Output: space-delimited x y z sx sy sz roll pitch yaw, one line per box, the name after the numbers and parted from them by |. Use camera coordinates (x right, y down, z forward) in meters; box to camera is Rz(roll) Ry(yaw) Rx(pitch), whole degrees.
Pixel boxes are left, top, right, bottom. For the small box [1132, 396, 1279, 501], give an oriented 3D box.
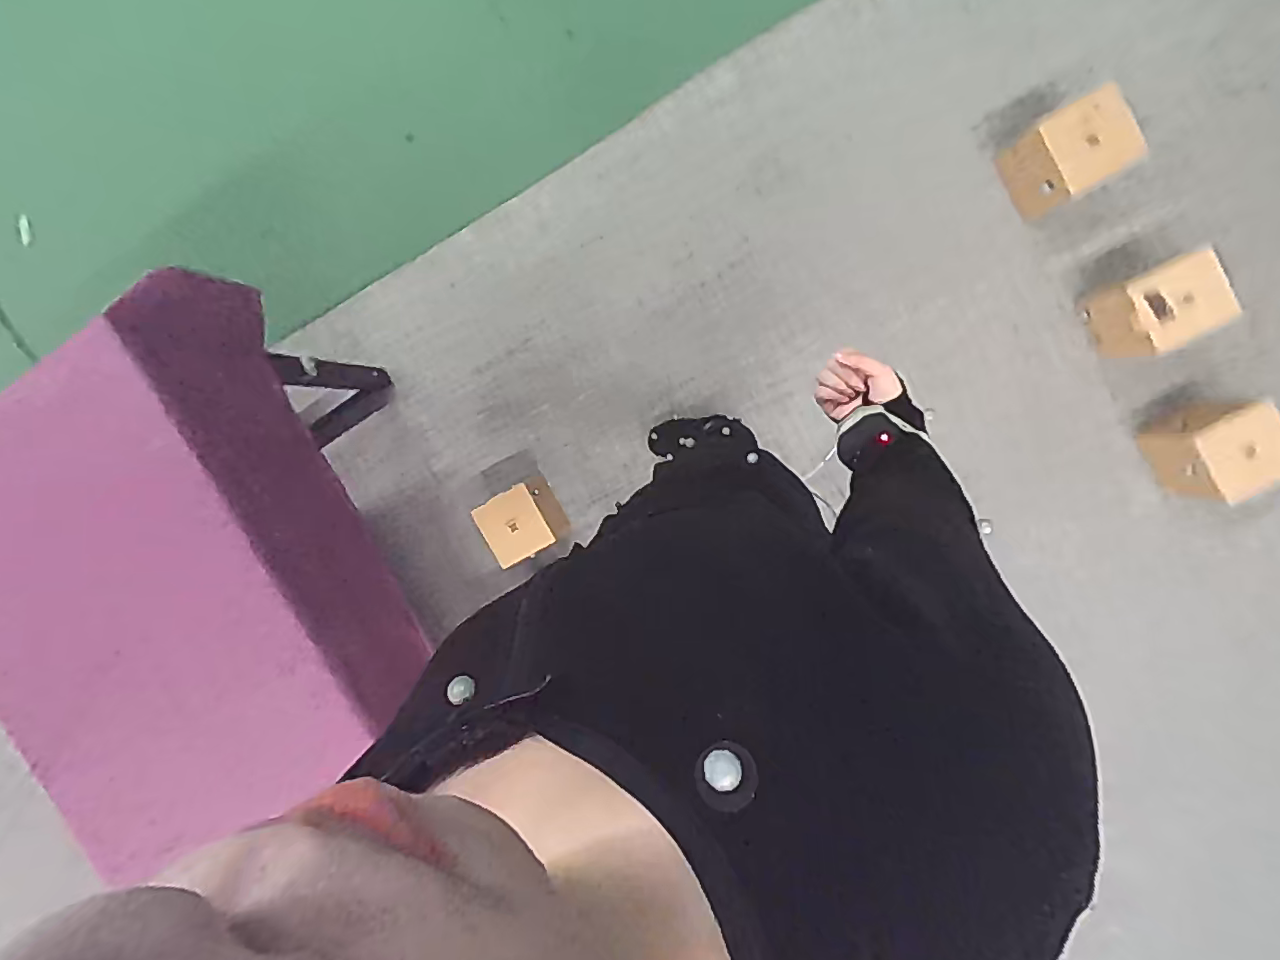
1.298 -0.075 1.239 0.168 0.176 0.179 -30 93 10 | small box

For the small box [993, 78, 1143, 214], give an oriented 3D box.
0.938 -0.723 1.202 0.168 0.176 0.179 -29 93 9 | small box

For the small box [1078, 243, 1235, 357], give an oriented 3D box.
1.142 -0.392 1.218 0.179 0.176 0.168 -28 93 9 | small box
